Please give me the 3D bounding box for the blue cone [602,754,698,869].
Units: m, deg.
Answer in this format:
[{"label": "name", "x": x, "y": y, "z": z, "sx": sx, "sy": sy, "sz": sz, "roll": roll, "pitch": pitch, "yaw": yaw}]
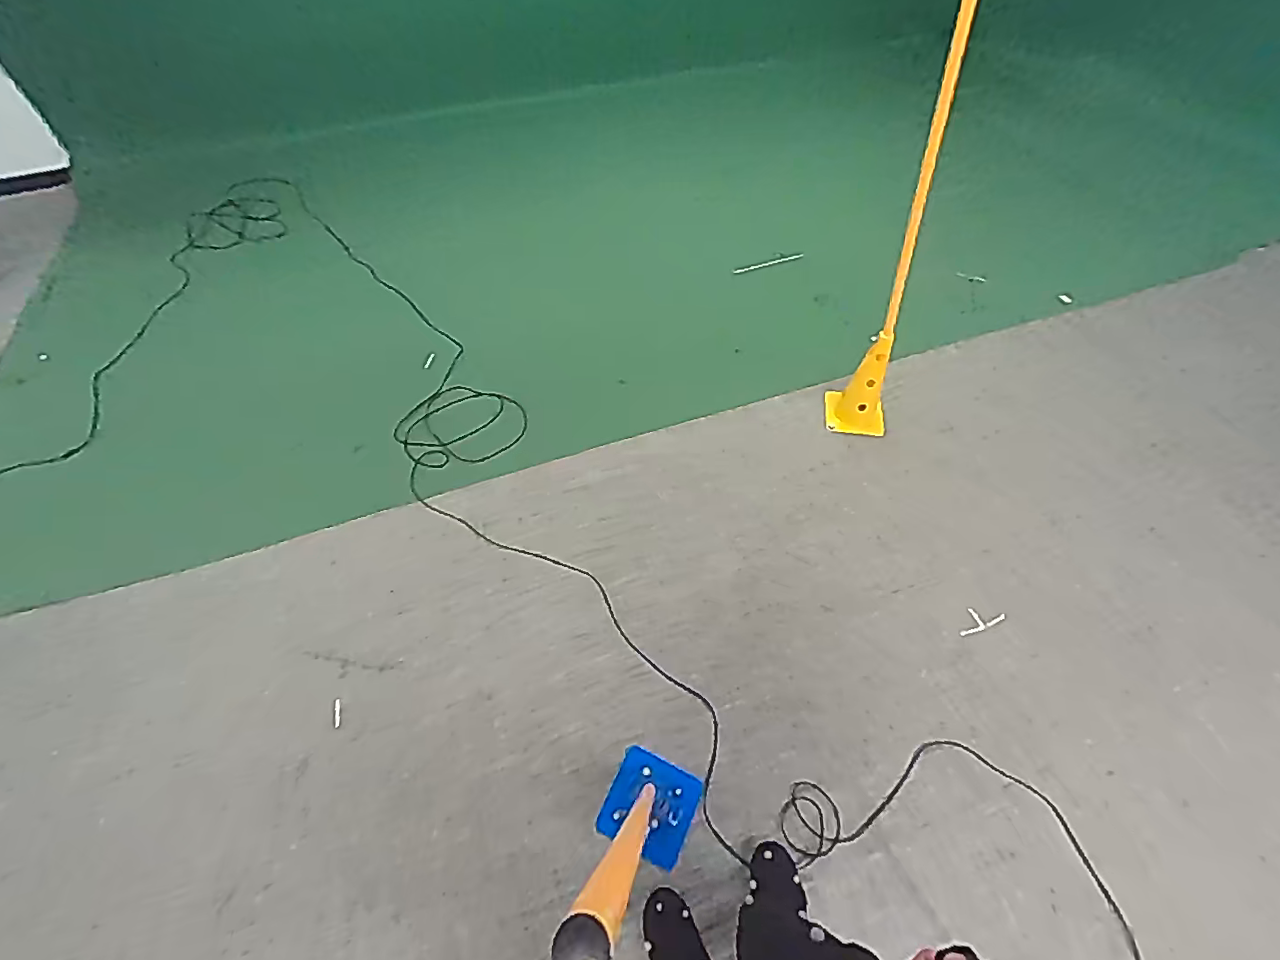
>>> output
[{"label": "blue cone", "x": 0.021, "y": 0.663, "z": 1.102, "sx": 0.192, "sy": 0.380, "sz": 0.193, "roll": 20, "pitch": 59, "yaw": 15}]
